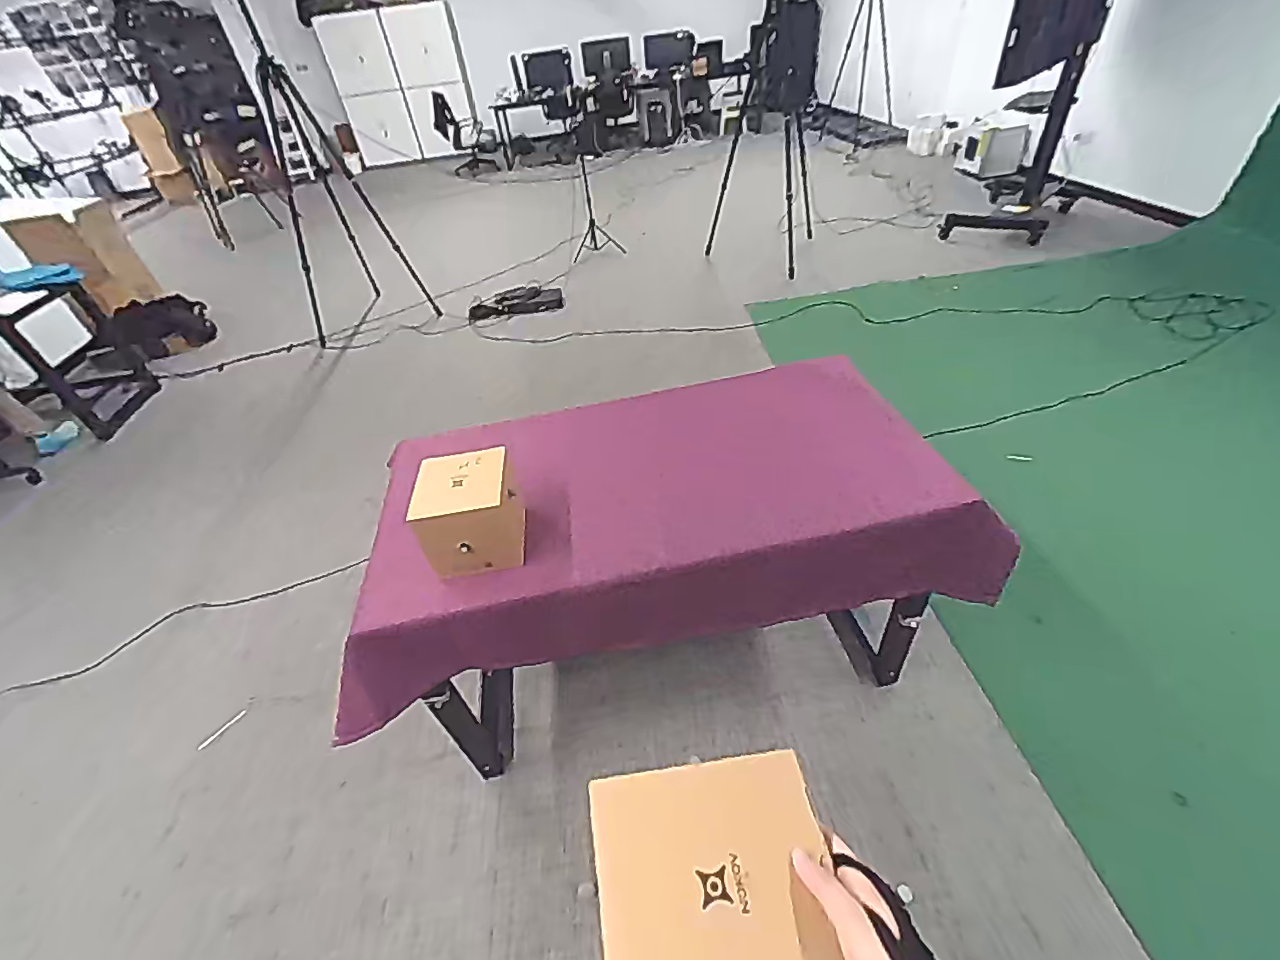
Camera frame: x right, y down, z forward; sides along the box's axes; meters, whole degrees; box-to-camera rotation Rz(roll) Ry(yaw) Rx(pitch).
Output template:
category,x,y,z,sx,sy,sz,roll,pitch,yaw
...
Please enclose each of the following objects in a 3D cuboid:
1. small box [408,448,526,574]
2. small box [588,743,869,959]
category,x,y,z,sx,sy,sz,roll,pitch,yaw
small box,-0.323,0.066,1.046,0.168,0.176,0.179,-9,41,-2
small box,0.054,0.342,0.442,0.179,0.176,0.168,-5,45,-9
